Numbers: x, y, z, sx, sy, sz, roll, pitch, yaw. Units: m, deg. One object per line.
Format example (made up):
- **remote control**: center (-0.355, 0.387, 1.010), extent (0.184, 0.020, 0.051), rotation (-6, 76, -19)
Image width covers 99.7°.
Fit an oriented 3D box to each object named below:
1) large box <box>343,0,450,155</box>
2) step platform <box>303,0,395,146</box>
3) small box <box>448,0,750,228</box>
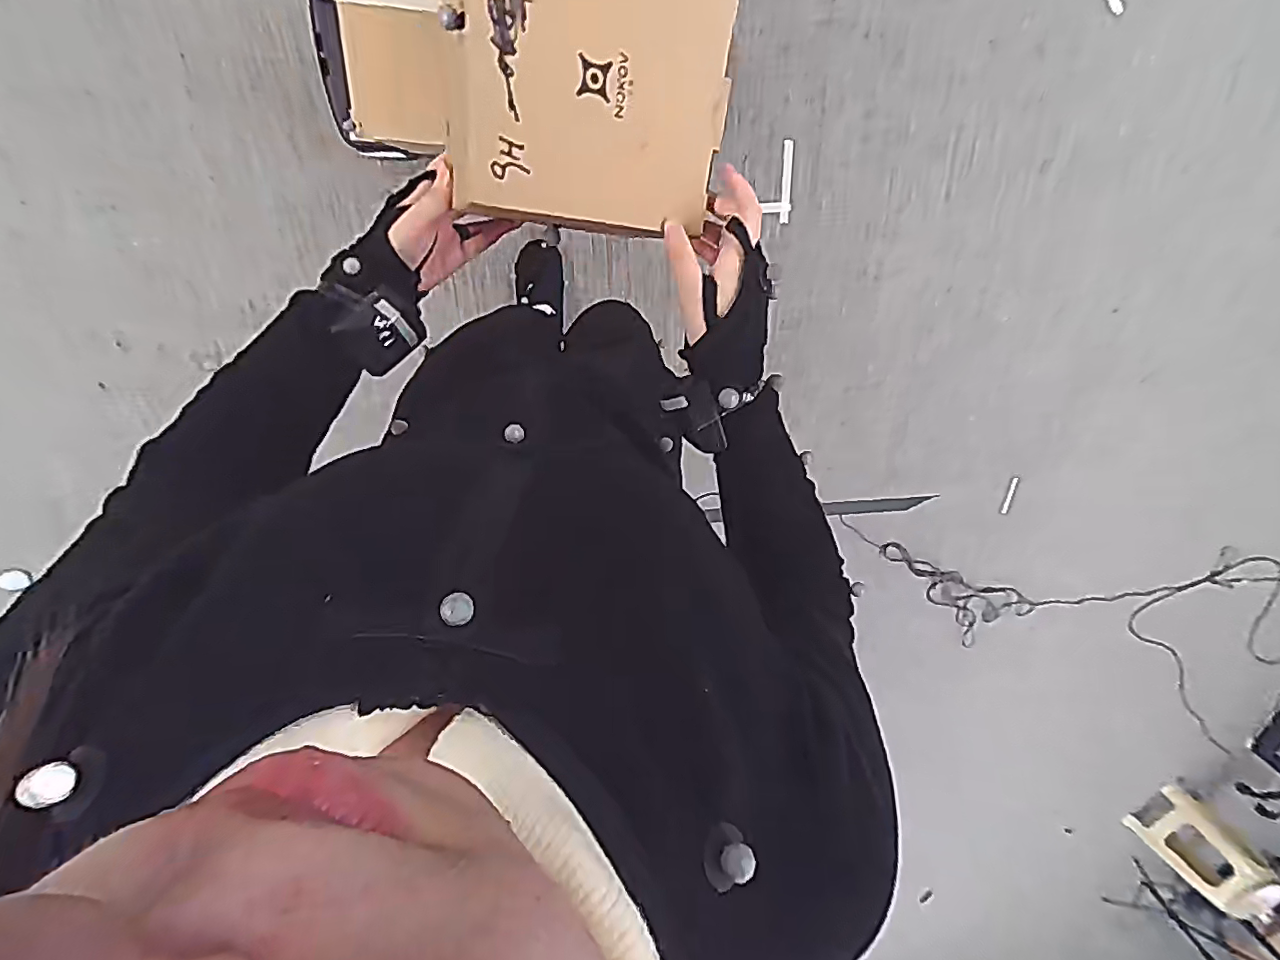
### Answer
- **large box**: center (-0.191, -0.674, 0.829), extent (0.408, 0.320, 0.320), rotation (0, 116, -7)
- **step platform**: center (-0.248, -0.779, 1.037), extent (0.684, 0.204, 0.286), rotation (2, 117, -9)
- **small box**: center (-0.045, -0.294, 0.408), extent (0.179, 0.176, 0.168), rotation (-2, 113, -24)
